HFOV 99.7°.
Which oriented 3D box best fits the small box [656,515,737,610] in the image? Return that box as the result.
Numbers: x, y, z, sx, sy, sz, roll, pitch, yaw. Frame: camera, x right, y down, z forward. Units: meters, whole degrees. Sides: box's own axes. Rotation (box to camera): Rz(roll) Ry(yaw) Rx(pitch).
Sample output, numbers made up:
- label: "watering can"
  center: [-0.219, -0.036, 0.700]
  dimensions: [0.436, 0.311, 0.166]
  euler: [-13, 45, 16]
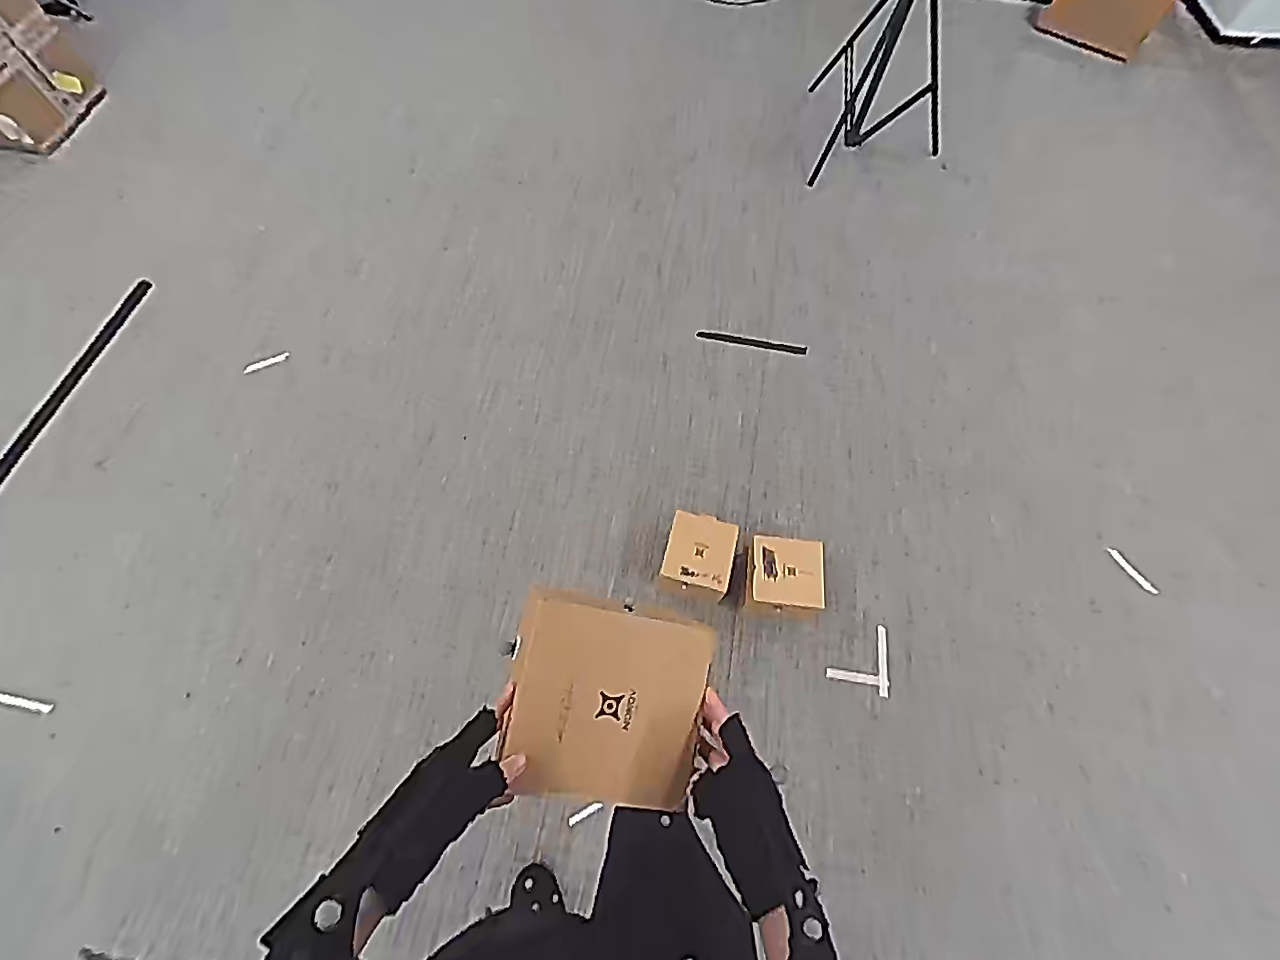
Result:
- label: "small box"
  center: [0.140, 0.216, 1.394]
  dimensions: [0.168, 0.176, 0.179]
  euler: [14, 65, 5]

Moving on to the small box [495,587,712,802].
- label: "small box"
  center: [-0.047, 0.210, 0.570]
  dimensions: [0.179, 0.176, 0.168]
  euler: [14, 79, -13]

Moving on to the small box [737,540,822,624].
- label: "small box"
  center: [0.349, 0.265, 1.381]
  dimensions: [0.179, 0.176, 0.168]
  euler: [7, 66, 0]
